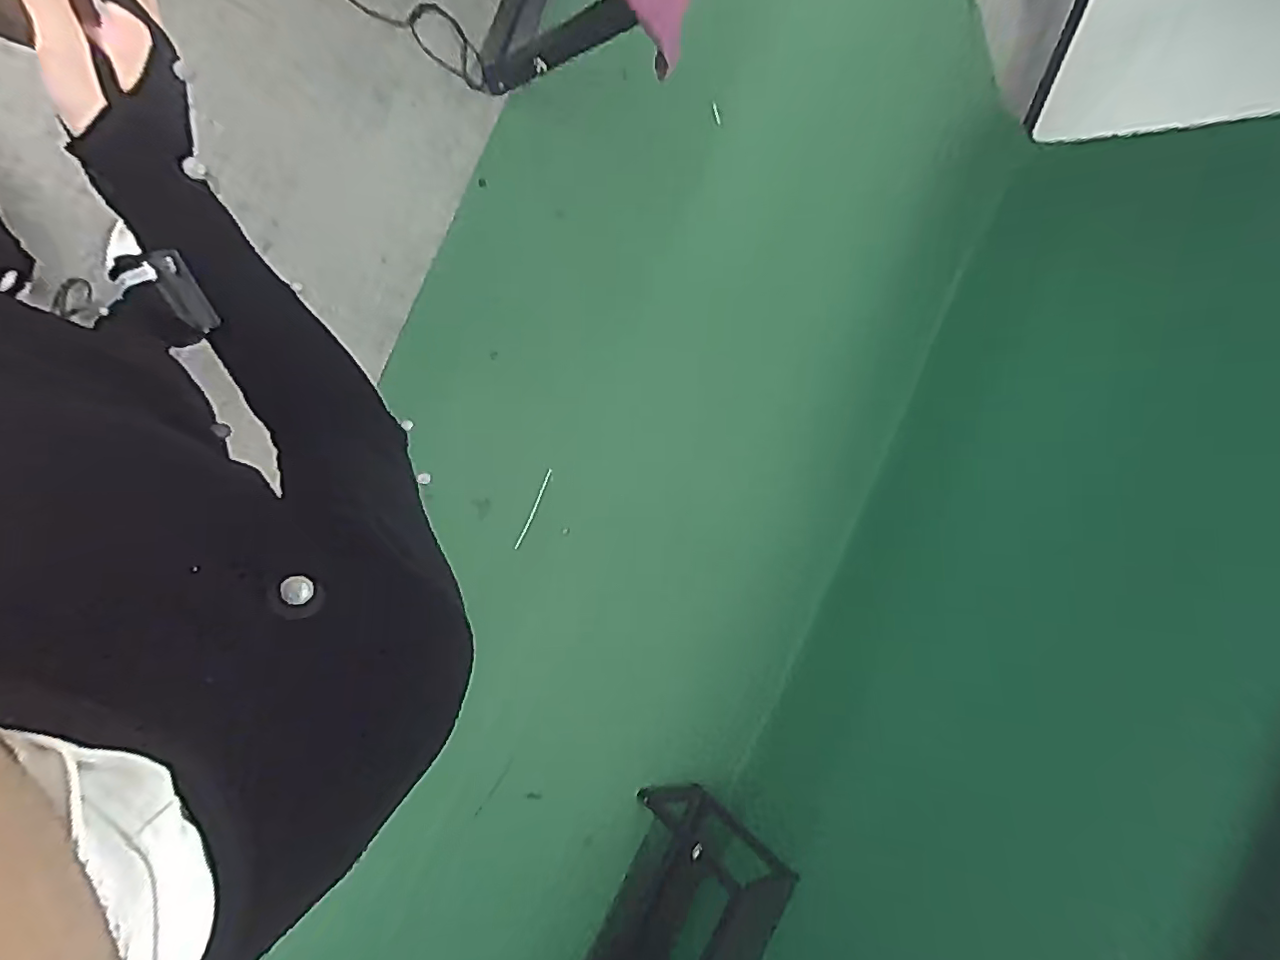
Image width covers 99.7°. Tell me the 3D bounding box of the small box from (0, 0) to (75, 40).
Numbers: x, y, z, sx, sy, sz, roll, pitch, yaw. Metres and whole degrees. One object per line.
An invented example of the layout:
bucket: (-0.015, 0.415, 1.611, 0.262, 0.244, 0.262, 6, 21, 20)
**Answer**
small box: (-0.462, -0.418, 0.324, 0.168, 0.176, 0.179, -1, 106, -44)
